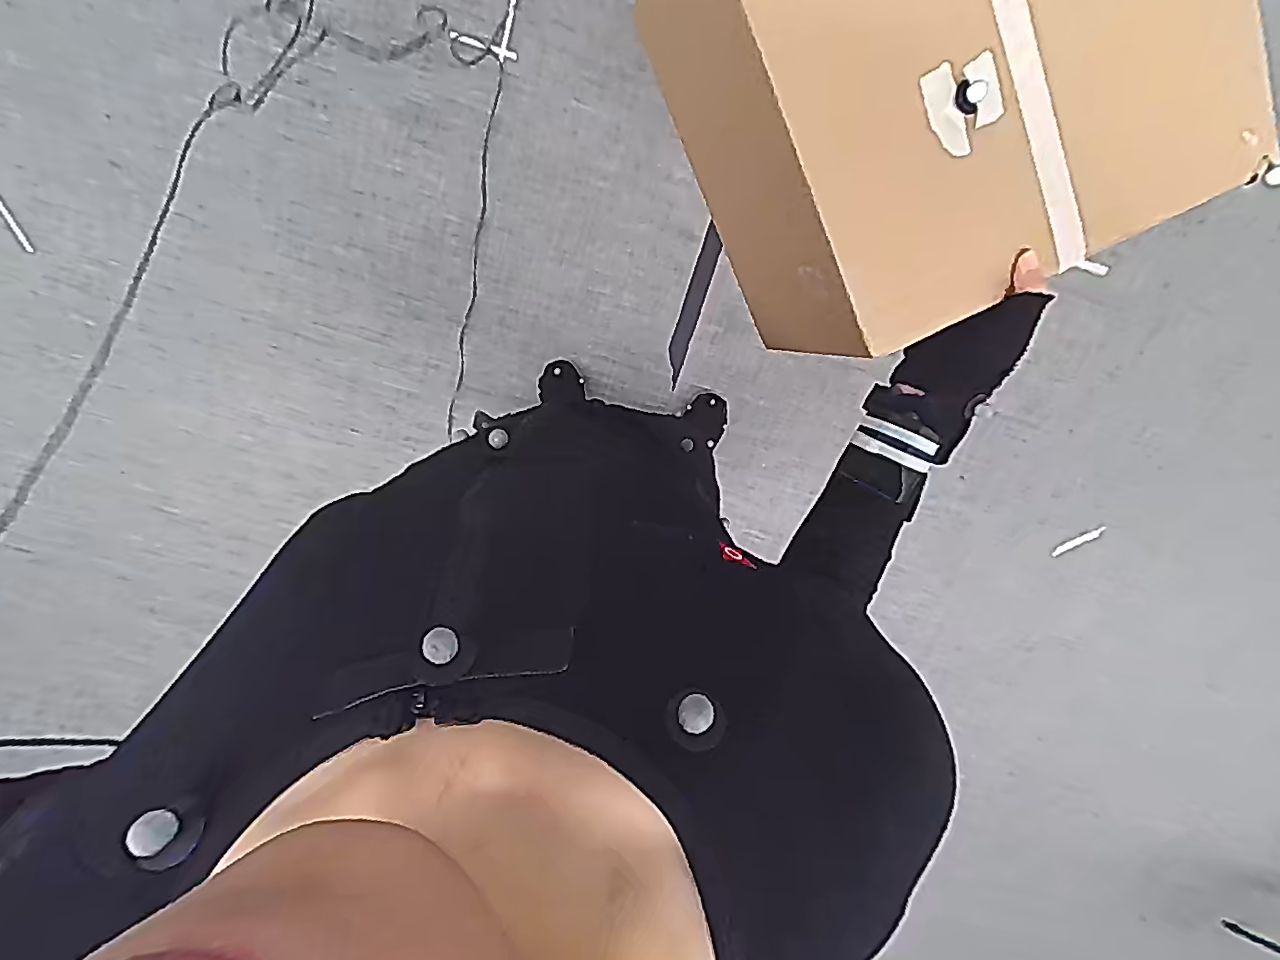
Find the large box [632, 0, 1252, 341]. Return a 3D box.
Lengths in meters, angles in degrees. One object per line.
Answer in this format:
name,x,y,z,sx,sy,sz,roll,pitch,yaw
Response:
large box,0.218,-0.382,0.503,0.320,0.320,0.408,-26,105,6
